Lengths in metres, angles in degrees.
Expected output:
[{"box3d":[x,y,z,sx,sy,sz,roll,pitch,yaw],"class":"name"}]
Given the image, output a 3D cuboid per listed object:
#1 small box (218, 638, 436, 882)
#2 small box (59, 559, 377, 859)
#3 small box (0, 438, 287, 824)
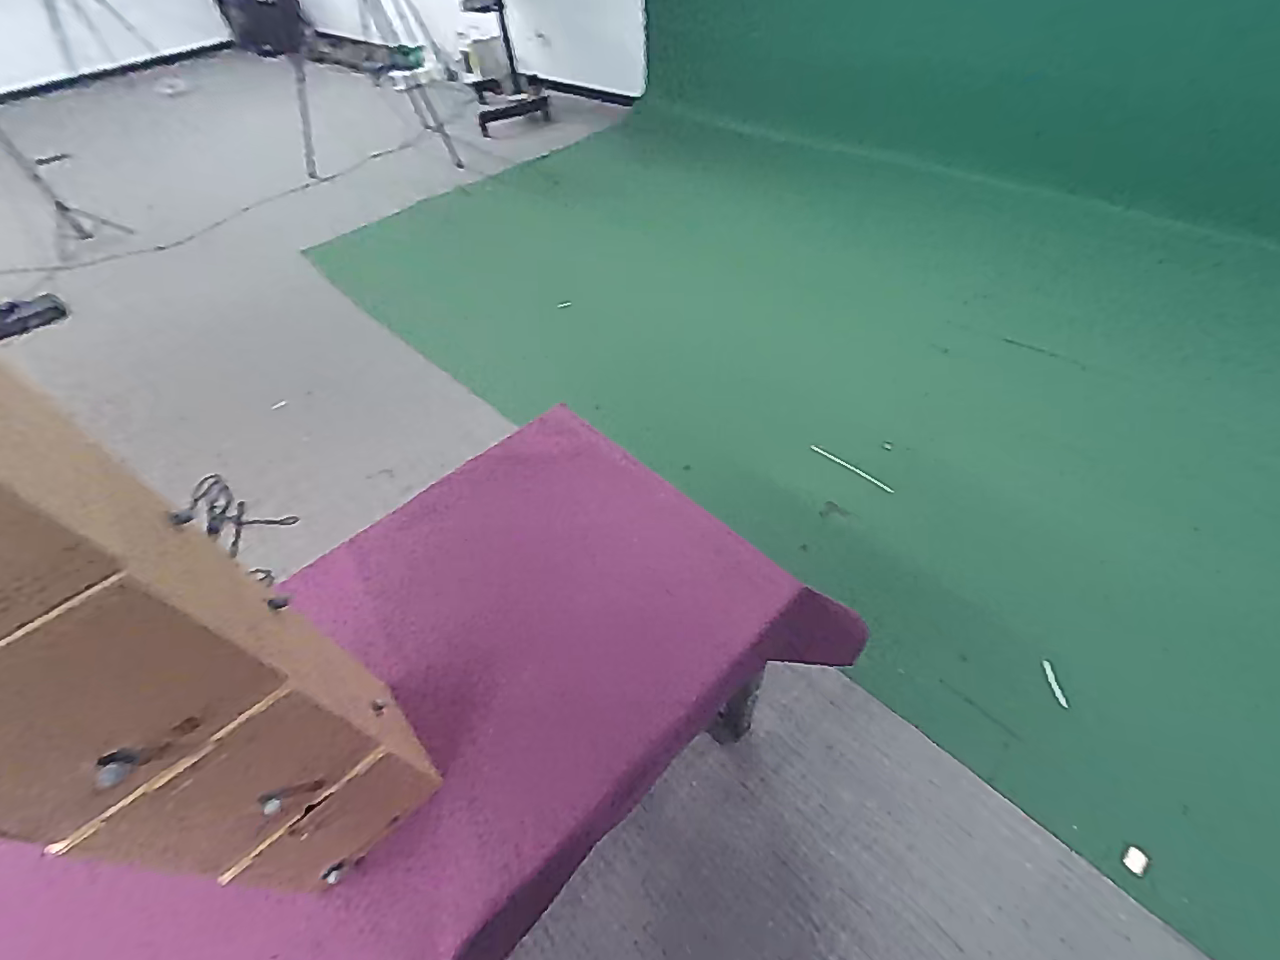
[{"box3d":[-0.369,0.327,0.630,0.168,0.176,0.179,-37,55,-24],"class":"small box"},{"box3d":[-0.388,0.216,0.510,0.168,0.176,0.179,-37,56,-23],"class":"small box"},{"box3d":[-0.403,0.107,0.390,0.168,0.176,0.179,-37,56,-23],"class":"small box"}]
